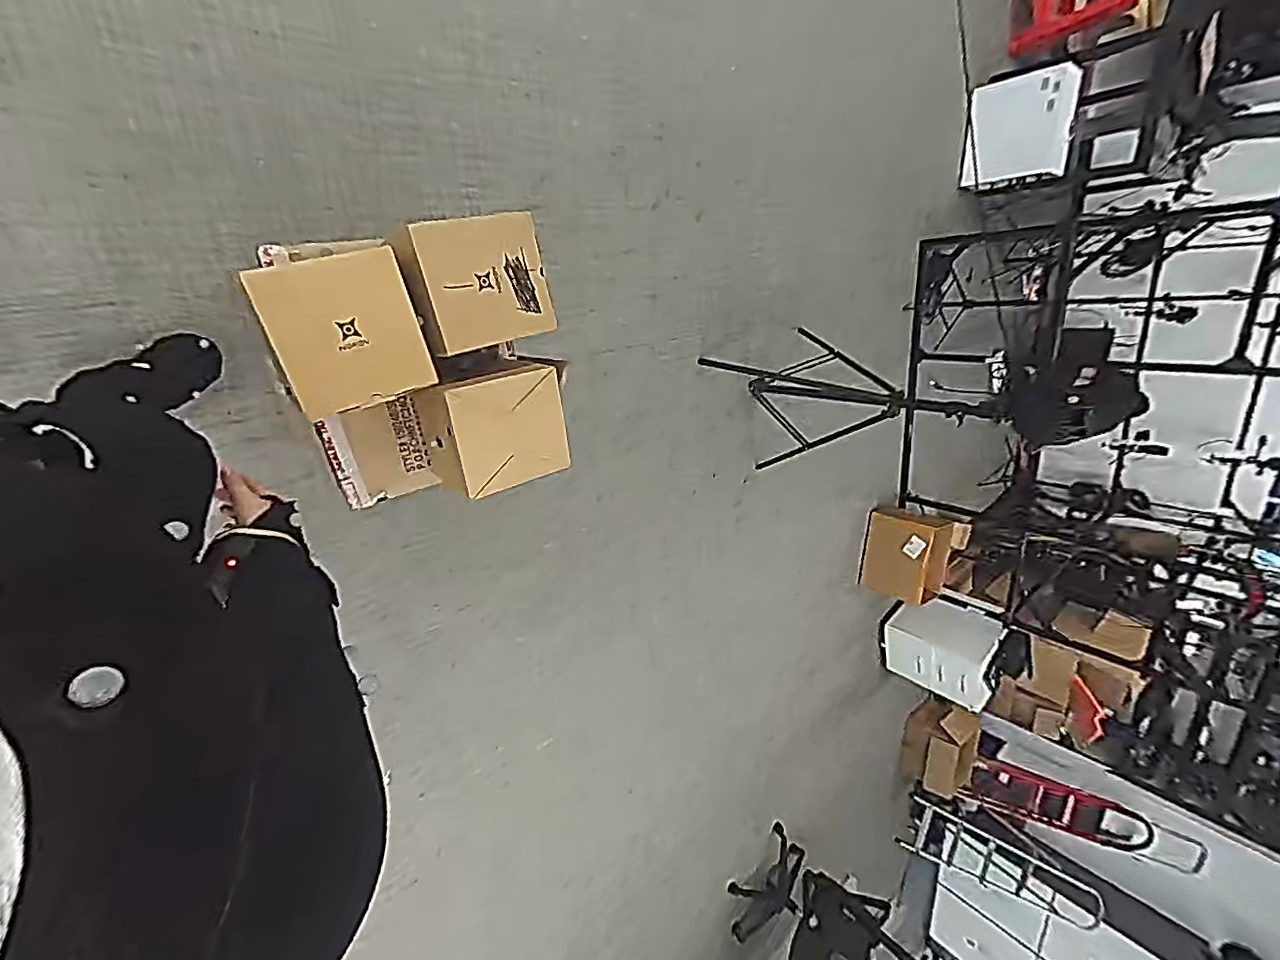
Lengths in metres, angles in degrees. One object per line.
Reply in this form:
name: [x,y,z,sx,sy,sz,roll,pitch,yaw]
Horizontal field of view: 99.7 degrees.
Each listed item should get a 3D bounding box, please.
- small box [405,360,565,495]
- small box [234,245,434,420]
small box: [-0.246,-0.089,0.863,0.179,0.176,0.168,-22,118,-33]
small box: [-0.403,-0.194,0.711,0.168,0.176,0.179,-27,118,-30]
